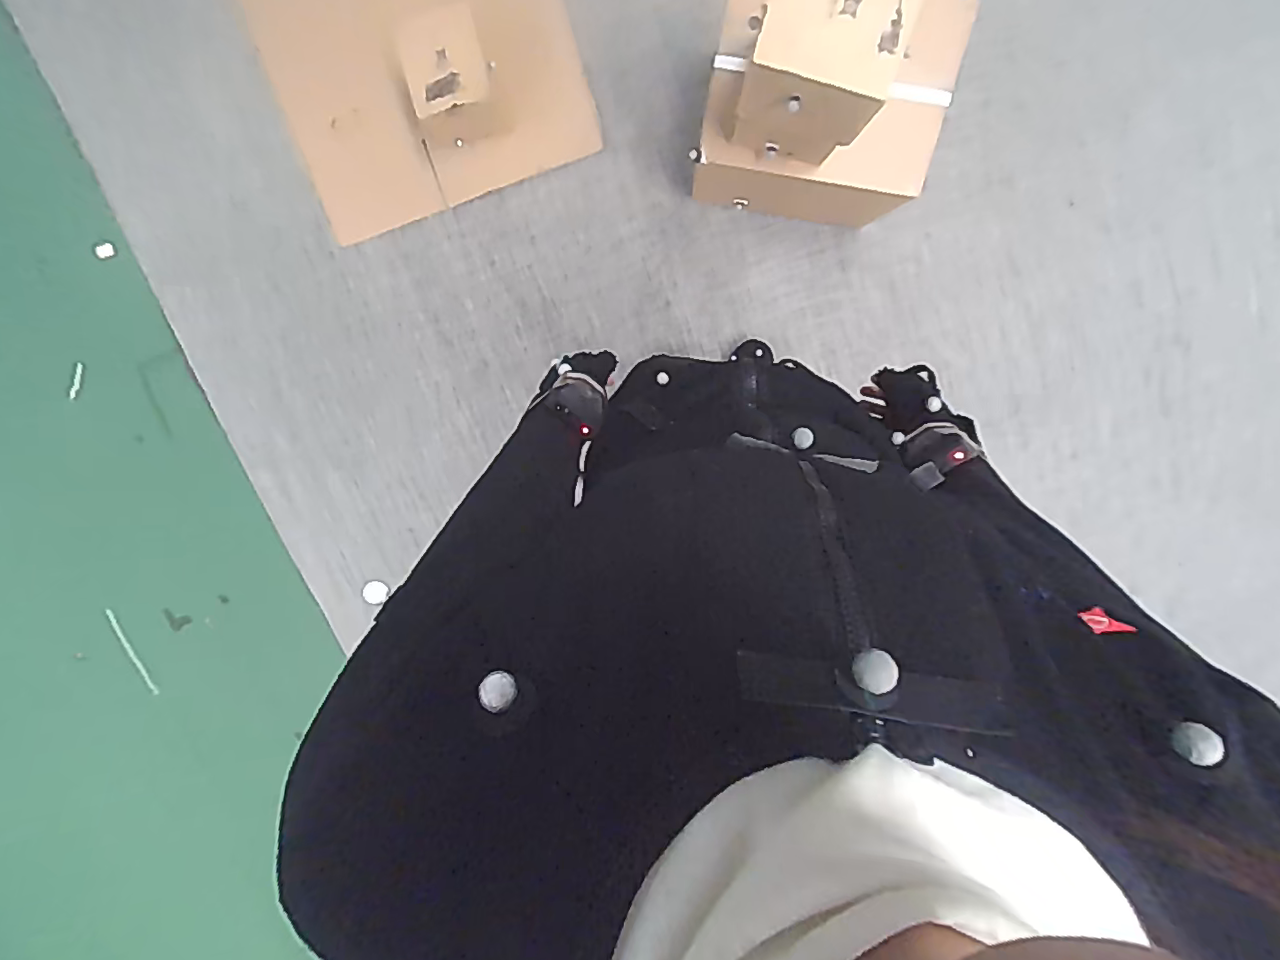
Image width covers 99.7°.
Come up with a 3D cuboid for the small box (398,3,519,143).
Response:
[{"bbox_3d":[-0.375,-0.849,1.154,0.168,0.176,0.179,-11,102,8],"label":"small box"}]

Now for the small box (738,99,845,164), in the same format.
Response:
[{"bbox_3d":[0.258,-0.635,0.860,0.168,0.176,0.179,13,107,2],"label":"small box"}]

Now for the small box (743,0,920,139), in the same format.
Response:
[{"bbox_3d":[0.243,-0.578,0.709,0.179,0.176,0.168,14,104,1],"label":"small box"}]
